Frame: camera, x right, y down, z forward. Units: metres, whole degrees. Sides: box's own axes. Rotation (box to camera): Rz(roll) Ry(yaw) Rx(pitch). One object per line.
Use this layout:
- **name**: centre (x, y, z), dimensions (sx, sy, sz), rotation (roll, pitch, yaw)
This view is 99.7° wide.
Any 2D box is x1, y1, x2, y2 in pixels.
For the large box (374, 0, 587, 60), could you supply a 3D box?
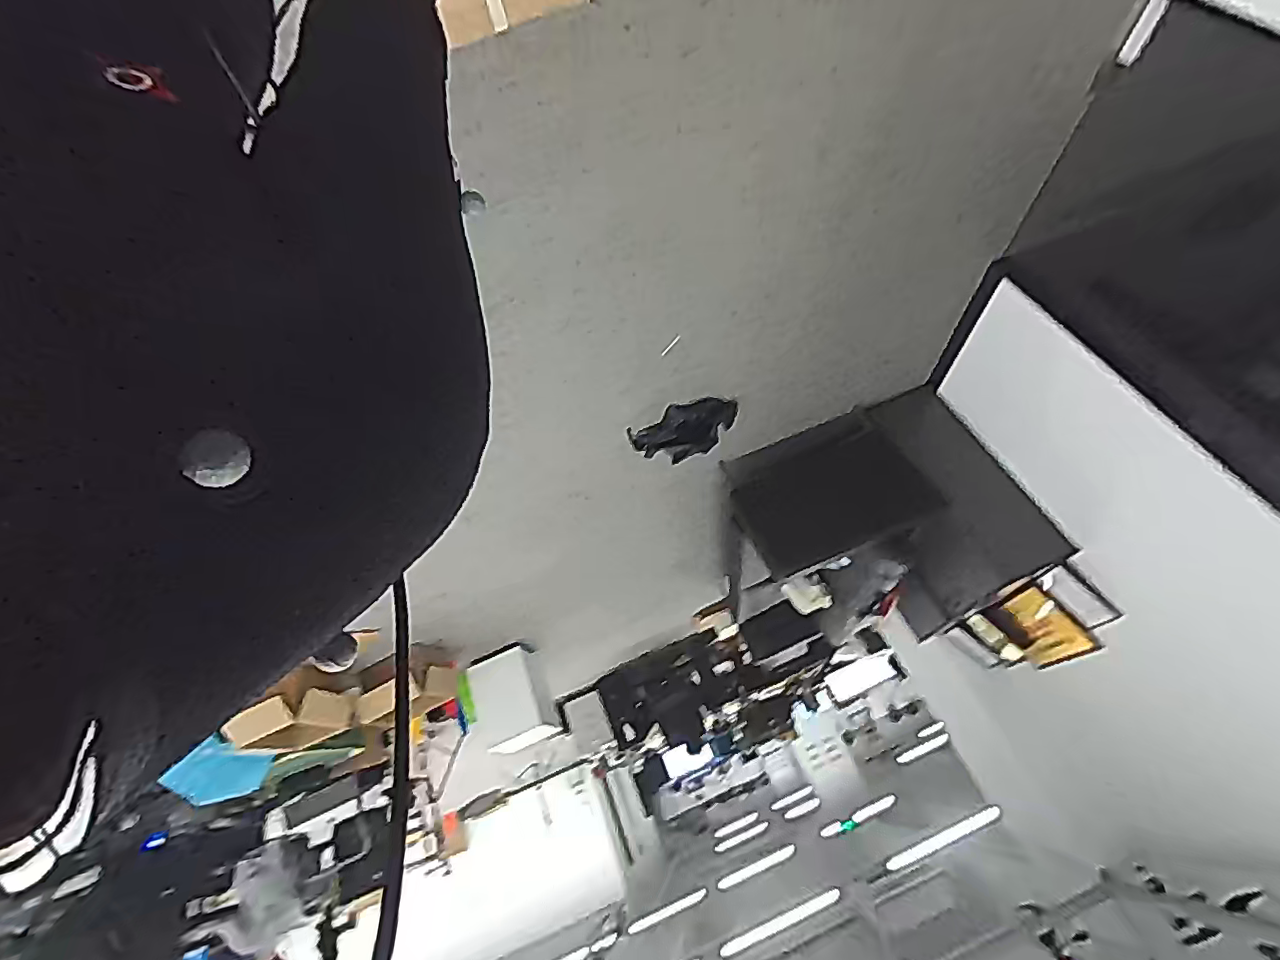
- **large box**: centre (-0.283, -0.874, 0.689), dimensions (0.320, 0.320, 0.408), rotation (-22, 153, -4)
